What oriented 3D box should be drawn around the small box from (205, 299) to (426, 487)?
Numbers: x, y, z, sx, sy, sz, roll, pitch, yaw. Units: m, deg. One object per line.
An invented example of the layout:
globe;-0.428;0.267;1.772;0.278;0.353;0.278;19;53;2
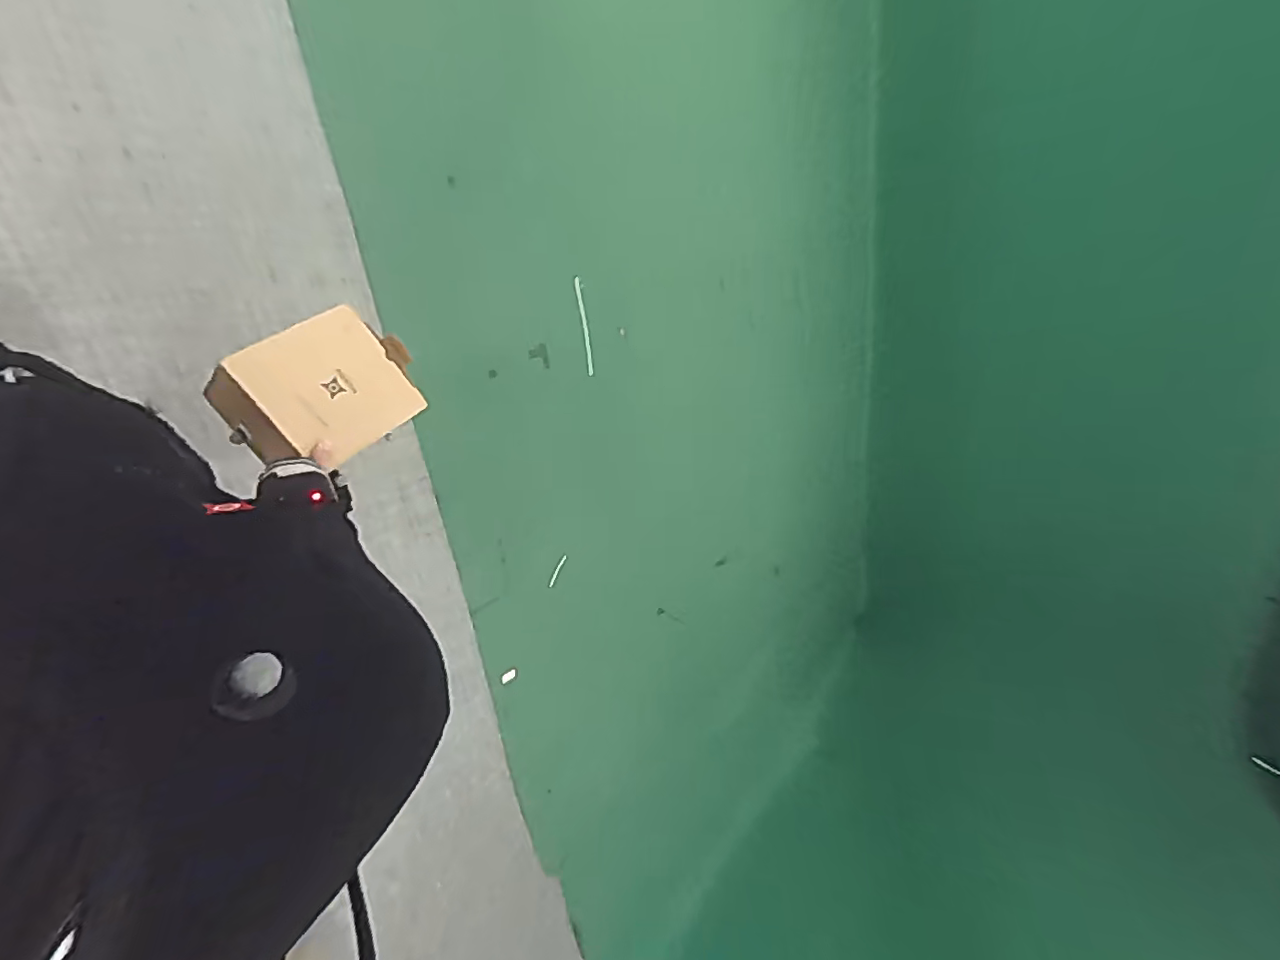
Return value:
small box;-0.435;-0.109;0.725;0.168;0.176;0.179;57;50;-21
